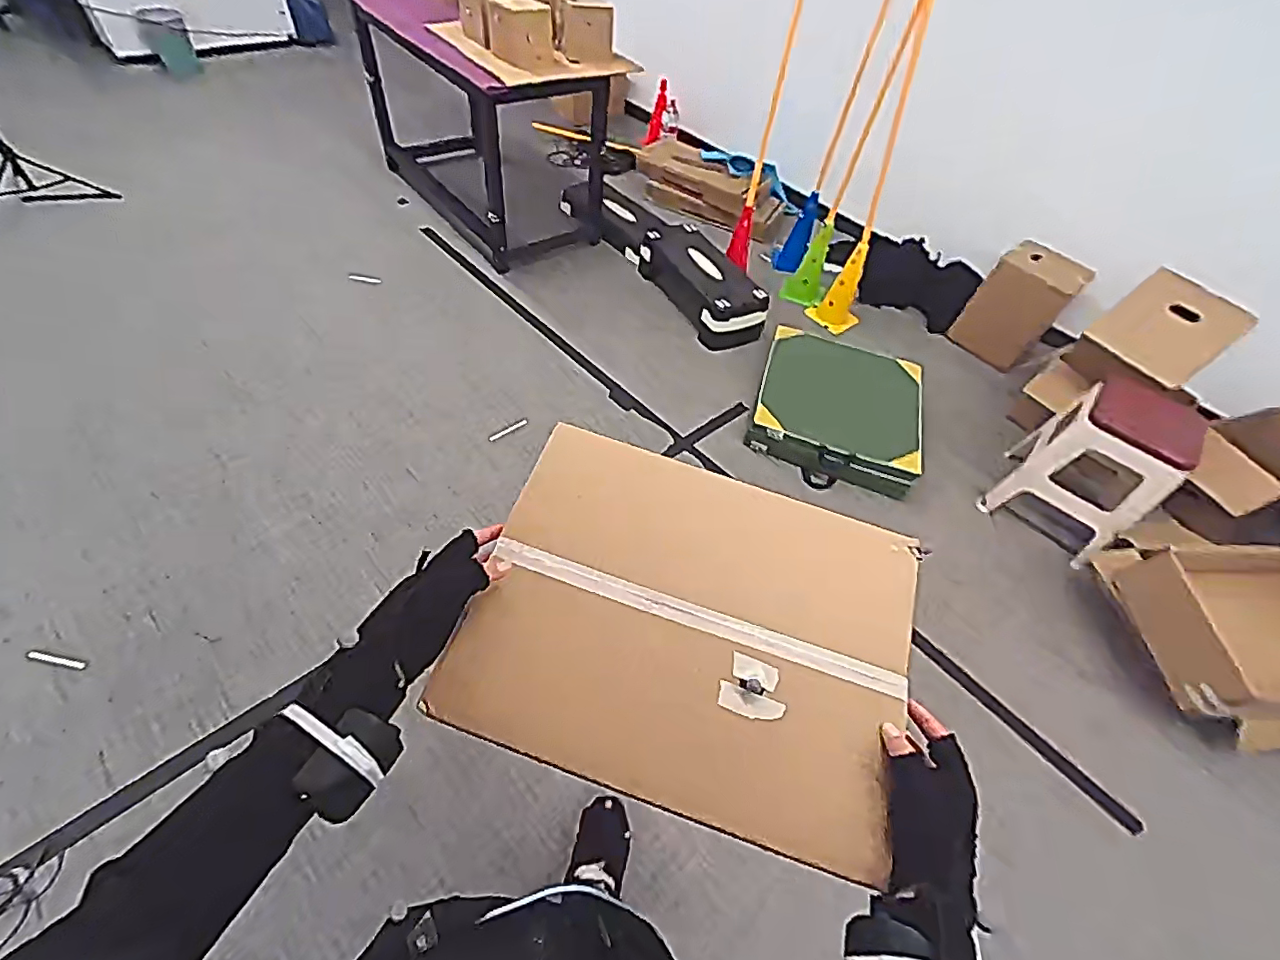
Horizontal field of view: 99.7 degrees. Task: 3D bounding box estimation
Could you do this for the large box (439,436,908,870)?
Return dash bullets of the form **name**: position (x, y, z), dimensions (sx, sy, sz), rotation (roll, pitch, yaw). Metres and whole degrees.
- **large box**: position (0.041, 0.203, 0.655), dimensions (0.408, 0.320, 0.320), rotation (19, 63, 4)
